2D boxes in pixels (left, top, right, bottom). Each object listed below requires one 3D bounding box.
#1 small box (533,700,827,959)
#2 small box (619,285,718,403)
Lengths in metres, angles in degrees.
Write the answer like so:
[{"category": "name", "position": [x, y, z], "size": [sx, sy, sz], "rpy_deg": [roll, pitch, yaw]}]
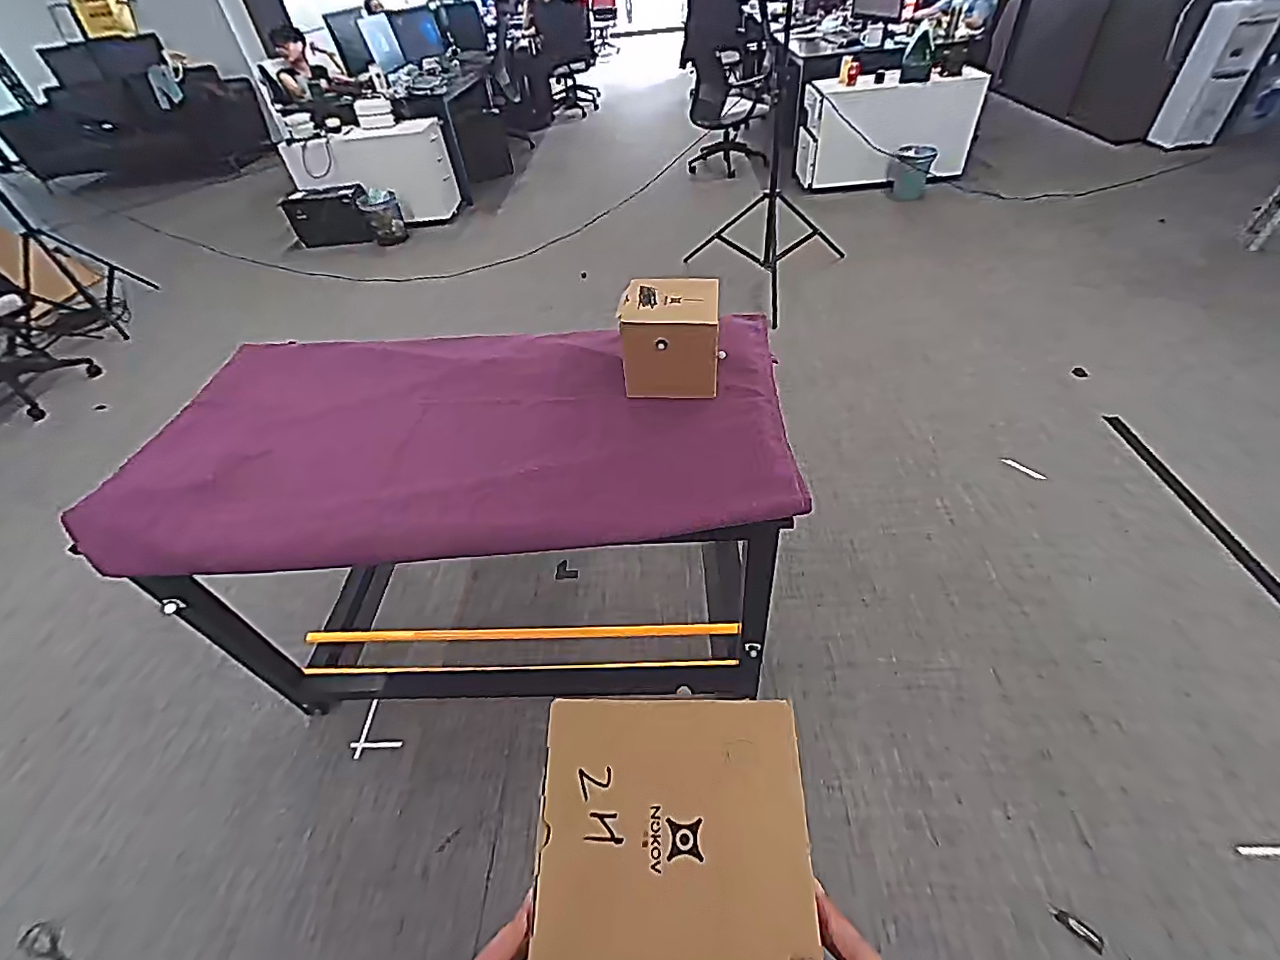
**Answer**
[{"category": "small box", "position": [0.028, 0.270, 0.419], "size": [0.179, 0.176, 0.168], "rpy_deg": [-1, 59, 4]}, {"category": "small box", "position": [0.063, -0.267, 1.068], "size": [0.179, 0.176, 0.168], "rpy_deg": [3, 47, 7]}]
